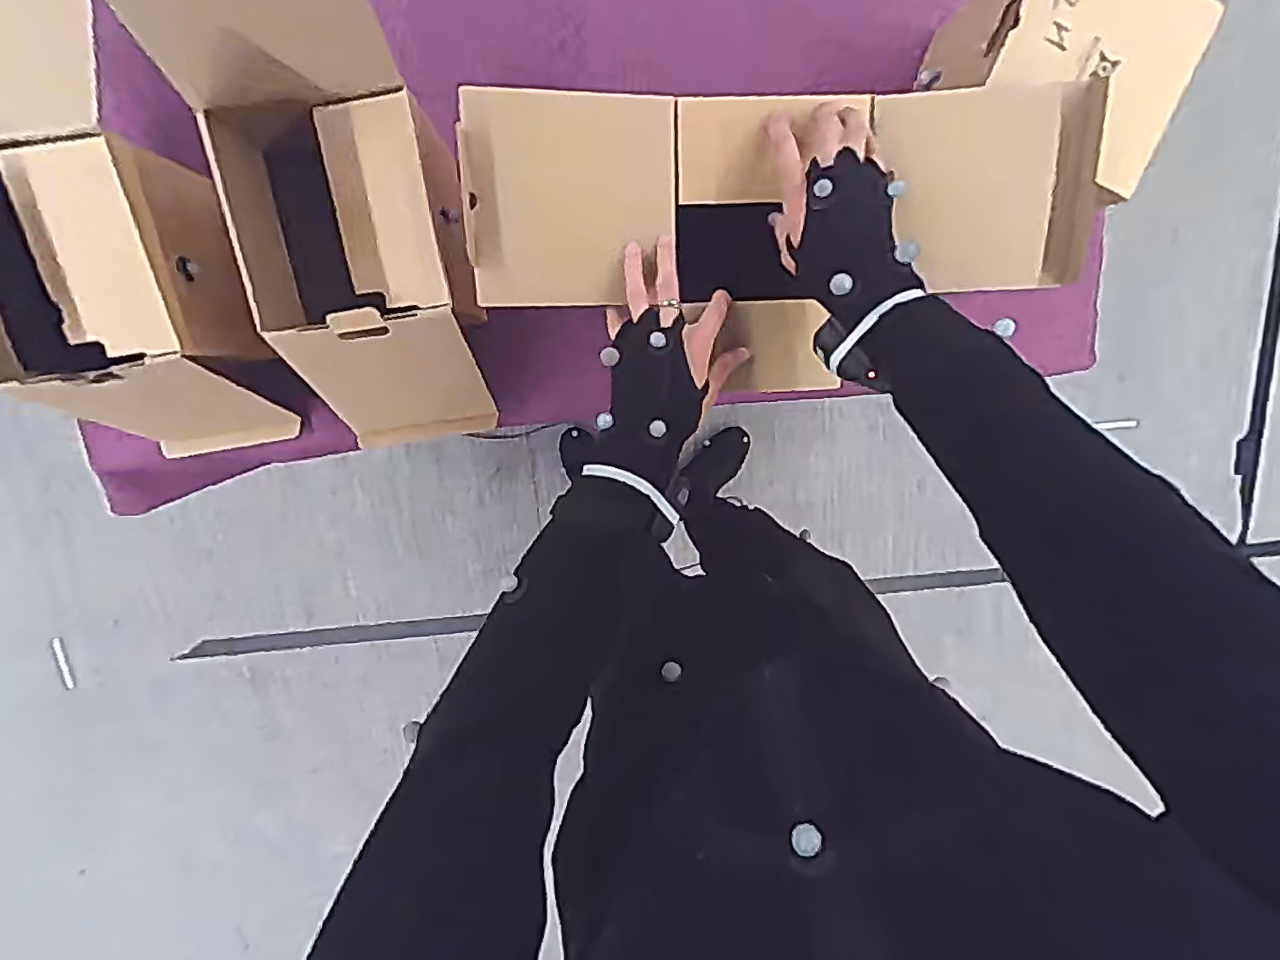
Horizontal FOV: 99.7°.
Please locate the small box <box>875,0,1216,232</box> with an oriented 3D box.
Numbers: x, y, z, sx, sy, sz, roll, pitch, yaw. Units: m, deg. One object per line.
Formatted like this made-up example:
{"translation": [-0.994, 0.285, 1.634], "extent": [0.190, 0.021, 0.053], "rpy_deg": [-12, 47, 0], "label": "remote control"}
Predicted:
{"translation": [0.380, -0.371, 0.542], "extent": [0.179, 0.176, 0.168], "rpy_deg": [20, 100, -8], "label": "small box"}
